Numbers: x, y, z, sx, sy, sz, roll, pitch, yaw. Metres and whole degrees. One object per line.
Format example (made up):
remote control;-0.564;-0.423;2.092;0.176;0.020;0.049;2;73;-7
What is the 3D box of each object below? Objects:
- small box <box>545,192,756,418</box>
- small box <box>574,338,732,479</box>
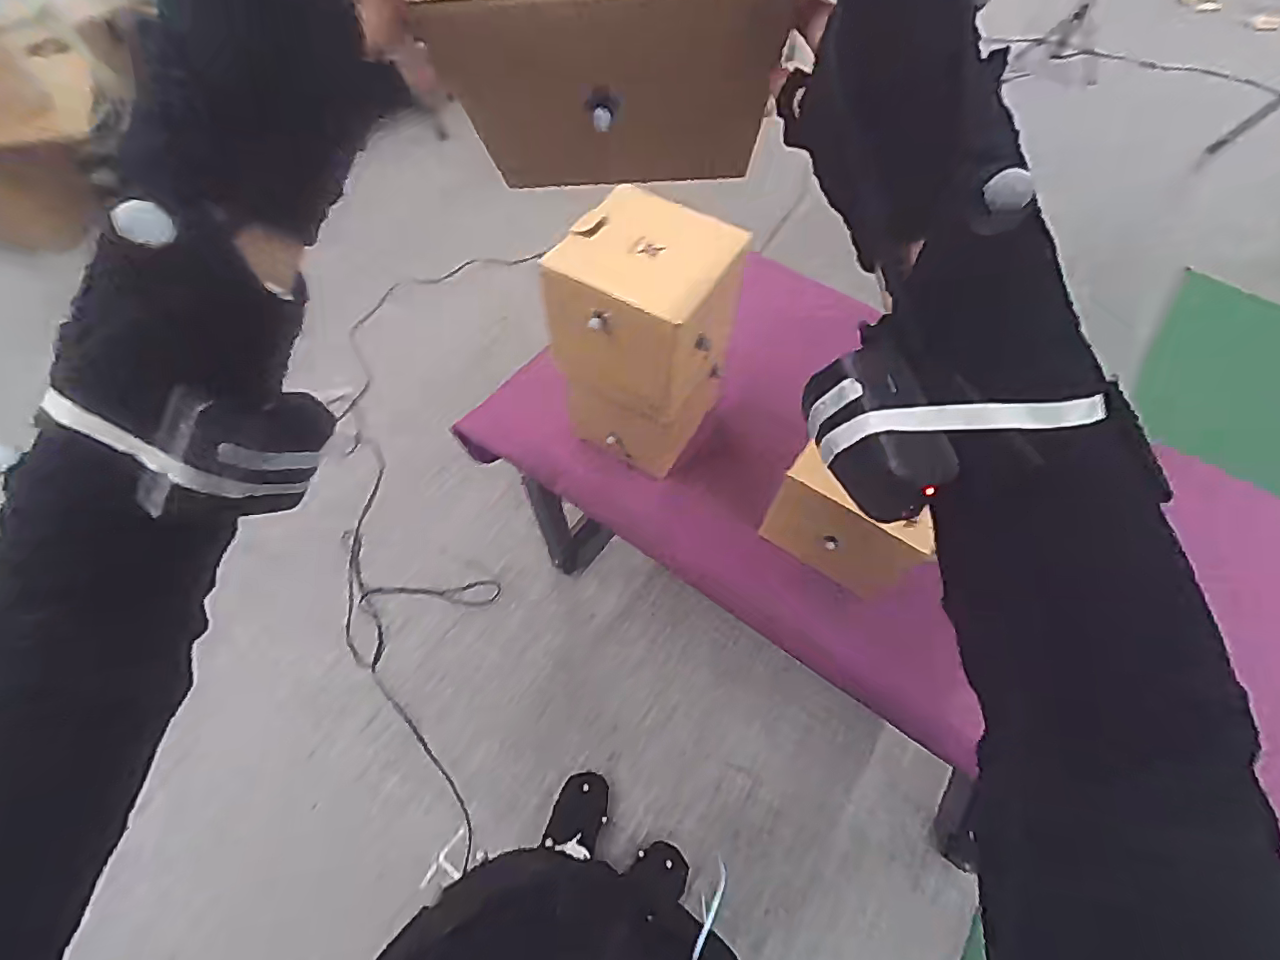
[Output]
small box;0.012;-0.201;0.655;0.179;0.176;0.168;29;64;14
small box;0.012;-0.136;0.806;0.168;0.176;0.179;29;63;13
